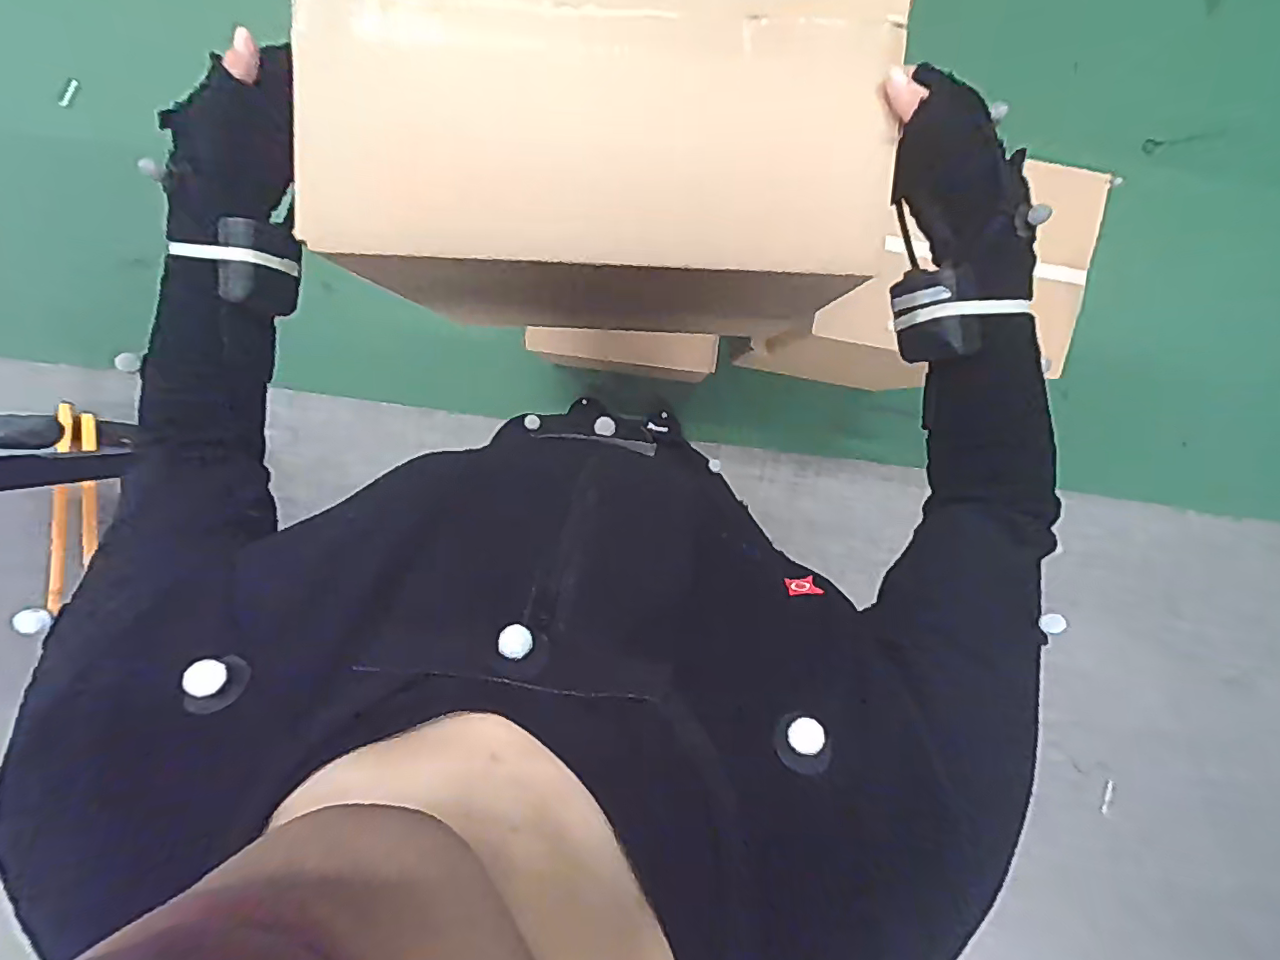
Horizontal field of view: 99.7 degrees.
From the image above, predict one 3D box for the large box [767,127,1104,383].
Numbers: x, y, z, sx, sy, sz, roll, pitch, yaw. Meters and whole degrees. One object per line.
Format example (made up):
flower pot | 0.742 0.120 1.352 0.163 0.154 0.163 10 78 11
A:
large box | 0.480 -0.365 0.973 0.408 0.320 0.320 10 98 -2
